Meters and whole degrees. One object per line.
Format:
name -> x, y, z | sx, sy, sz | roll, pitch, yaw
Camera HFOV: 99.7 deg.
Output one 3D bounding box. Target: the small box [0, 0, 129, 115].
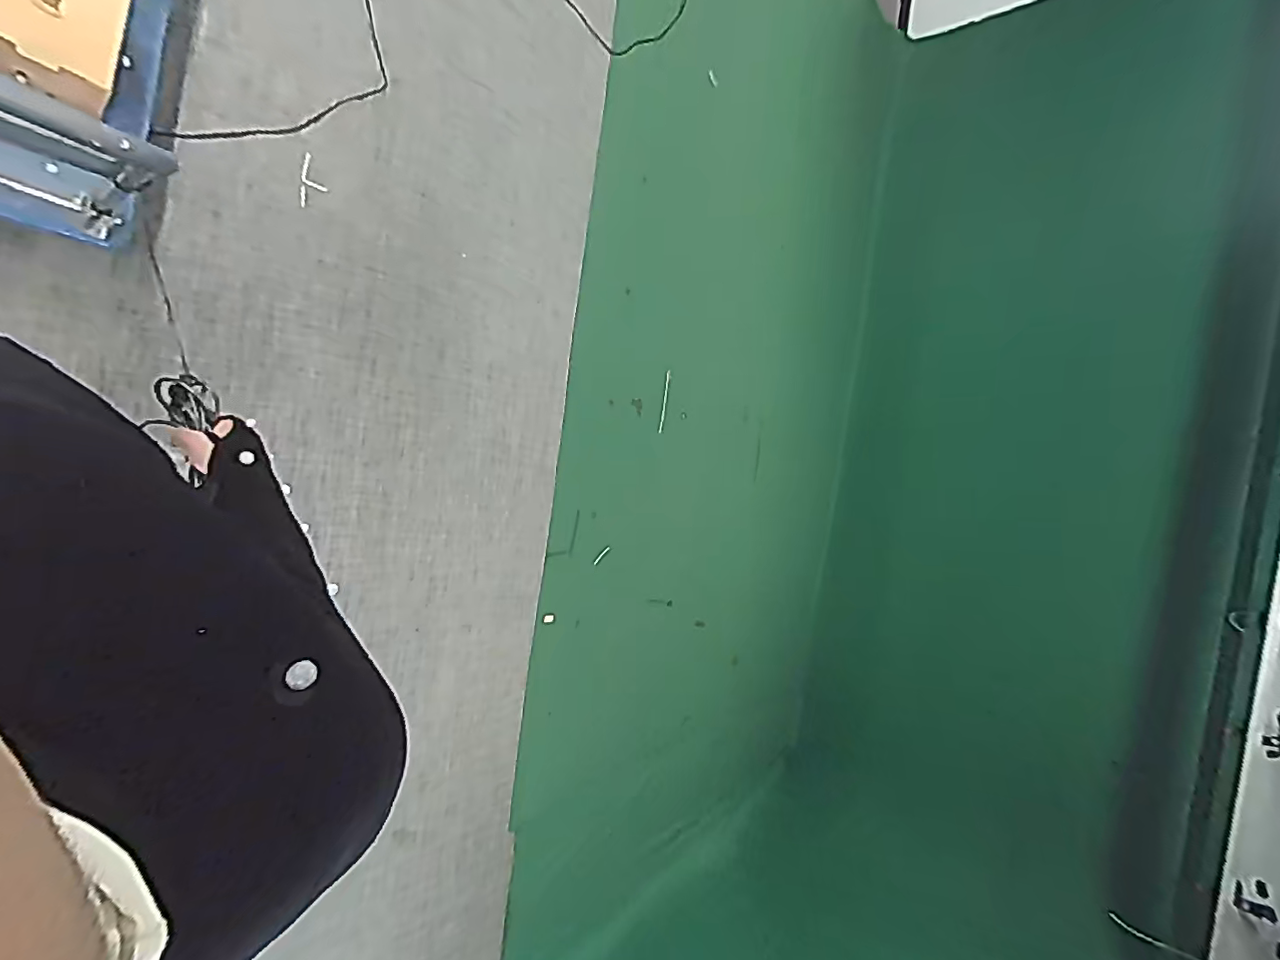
small box -> -0.981, -0.752, 0.888 | 0.168, 0.176, 0.179 | 12, 90, -51
